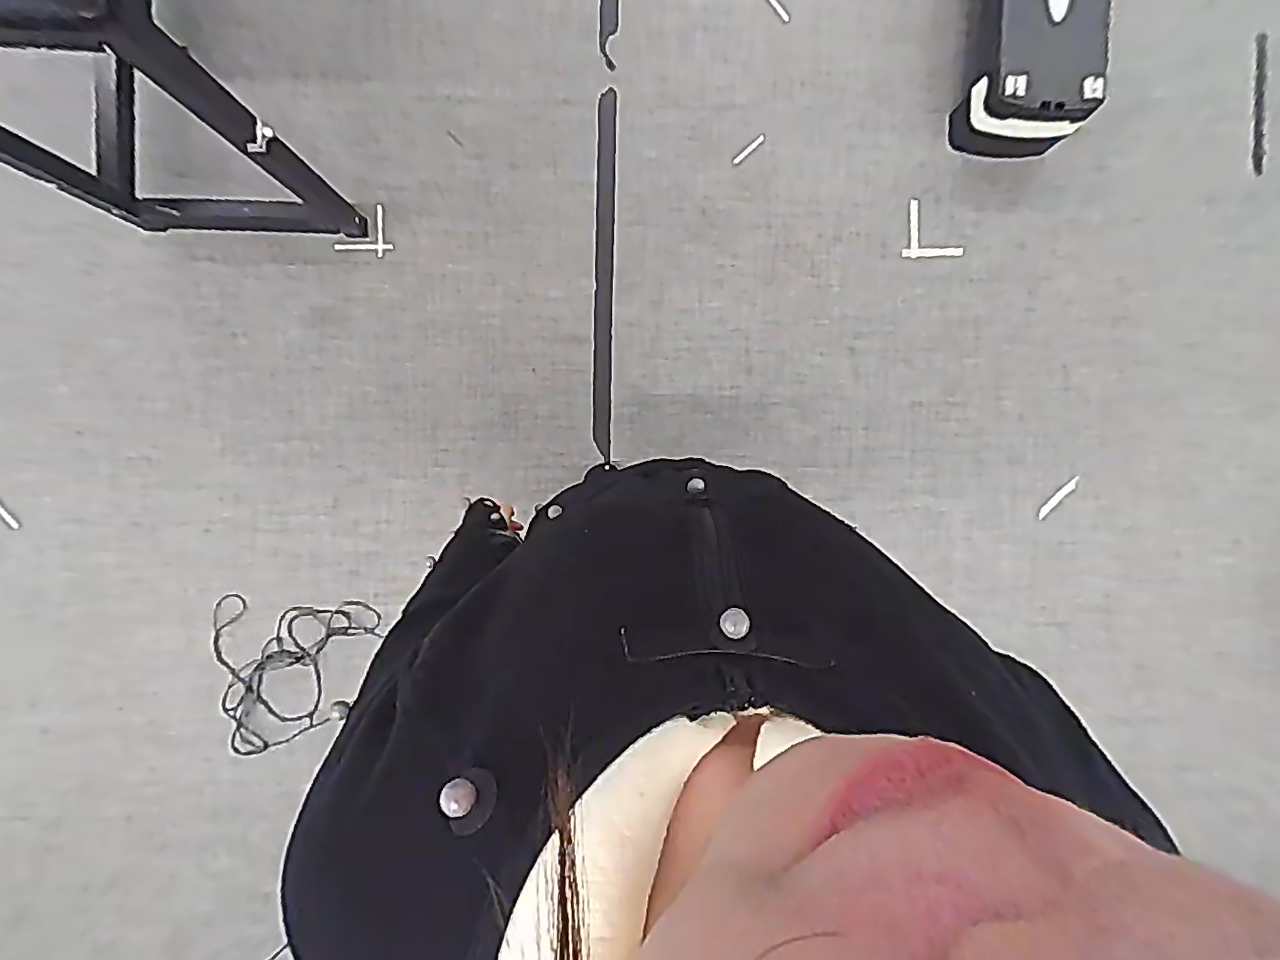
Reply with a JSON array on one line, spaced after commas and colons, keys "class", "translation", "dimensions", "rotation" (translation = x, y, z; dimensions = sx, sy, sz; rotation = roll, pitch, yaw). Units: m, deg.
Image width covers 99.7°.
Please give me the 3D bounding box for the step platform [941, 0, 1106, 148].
[{"class": "step platform", "translation": [1.002, -1.255, 1.385], "dimensions": [0.286, 0.204, 0.684], "rotation": [6, 91, -2]}]
